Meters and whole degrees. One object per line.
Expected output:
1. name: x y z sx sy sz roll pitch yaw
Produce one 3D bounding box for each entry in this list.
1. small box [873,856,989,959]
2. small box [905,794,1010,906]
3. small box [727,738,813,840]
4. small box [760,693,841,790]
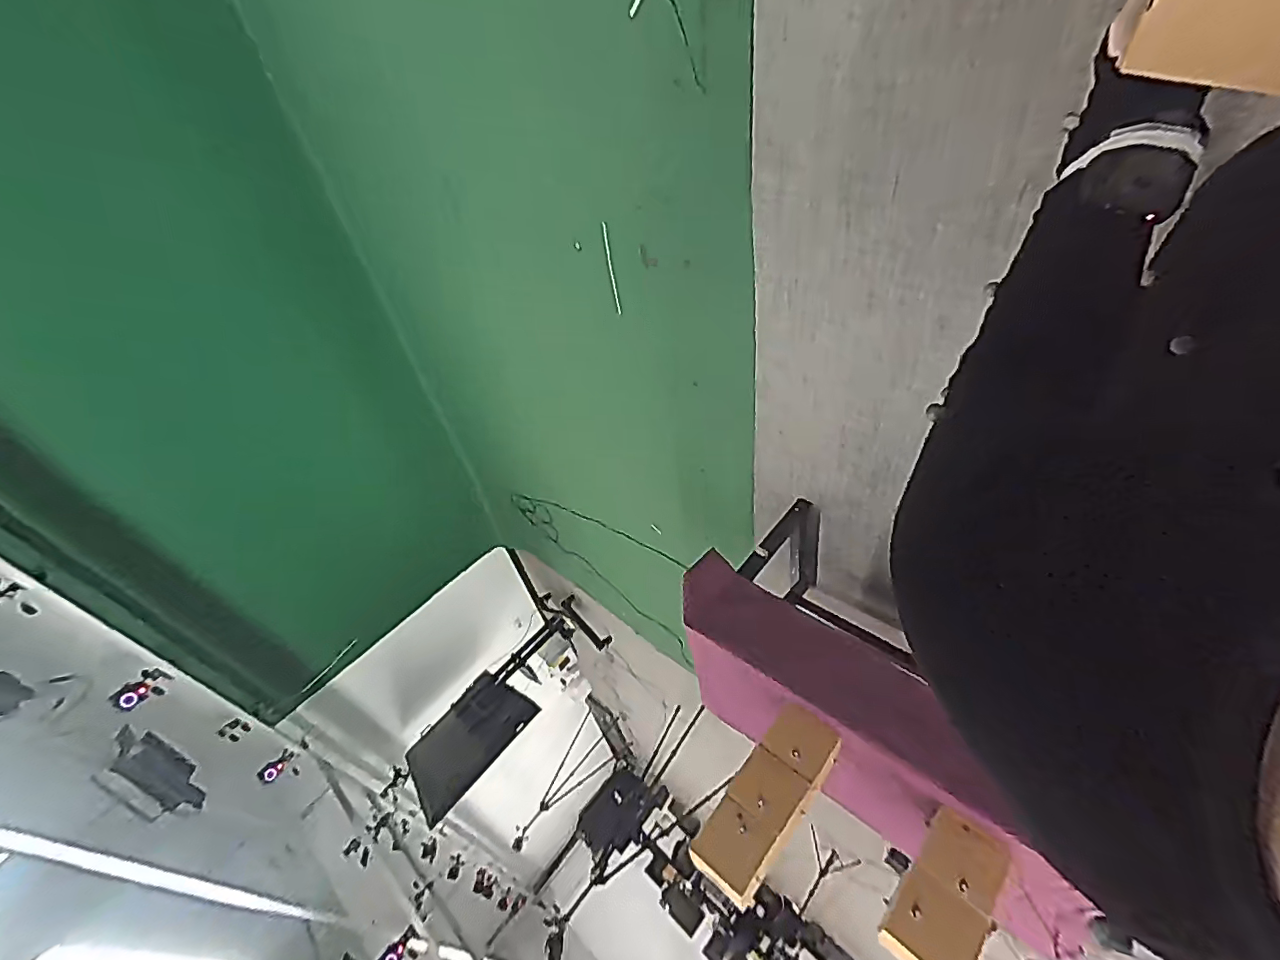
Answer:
1. small box: 0.689 1.037 1.290 0.179 0.176 0.168 28 147 33
2. small box: 0.798 0.939 1.364 0.168 0.176 0.179 27 147 34
3. small box: 0.369 0.869 1.539 0.179 0.176 0.168 26 145 35
4. small box: 0.479 0.773 1.611 0.179 0.176 0.168 28 147 35
